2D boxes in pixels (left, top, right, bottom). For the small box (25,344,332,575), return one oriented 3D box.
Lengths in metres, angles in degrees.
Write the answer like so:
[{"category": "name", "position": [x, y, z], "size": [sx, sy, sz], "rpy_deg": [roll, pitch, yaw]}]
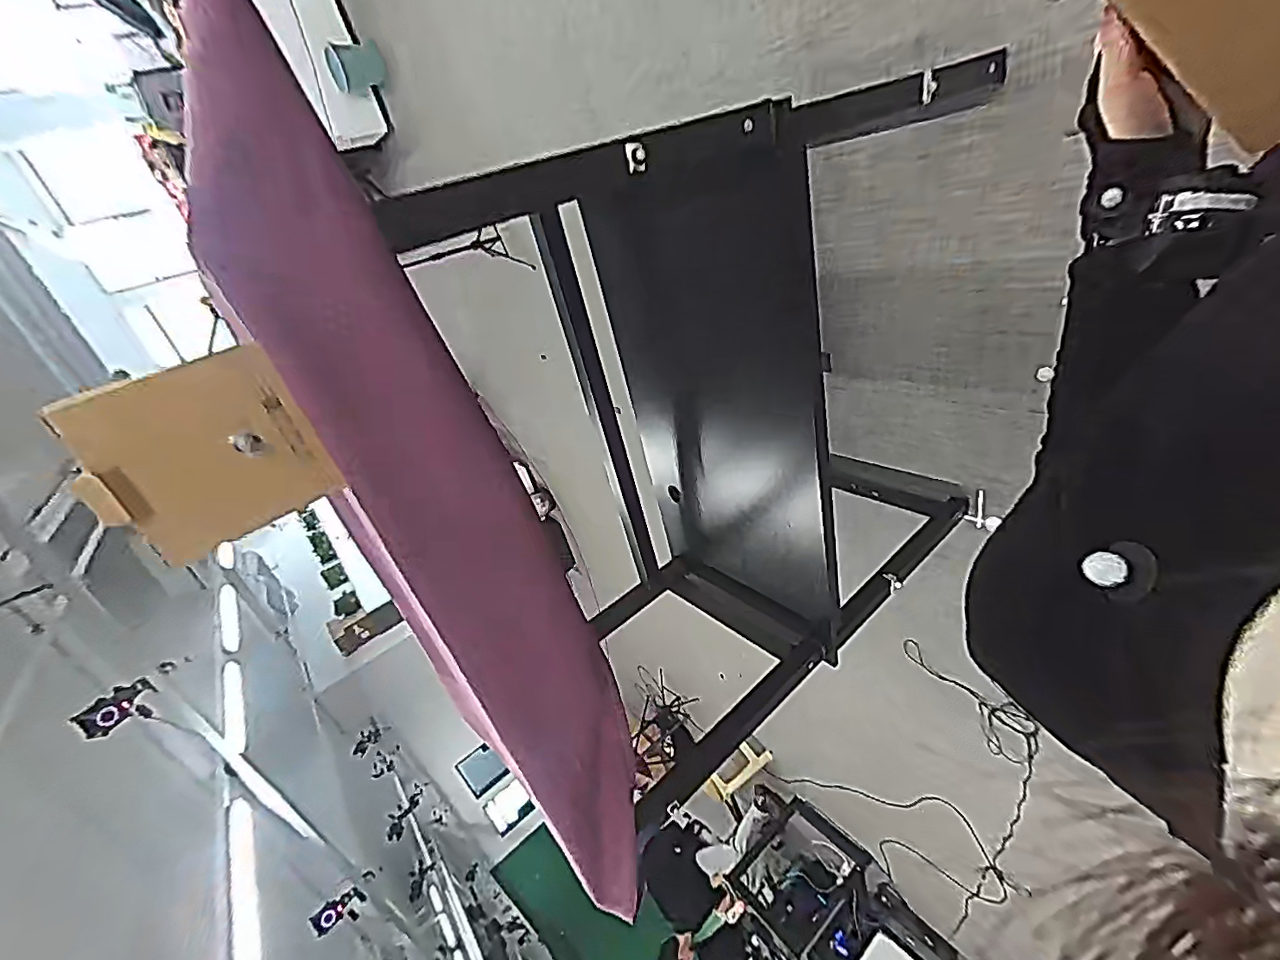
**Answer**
[{"category": "small box", "position": [-0.450, -0.035, 0.564], "size": [0.179, 0.176, 0.168], "rpy_deg": [17, 133, 53]}]
